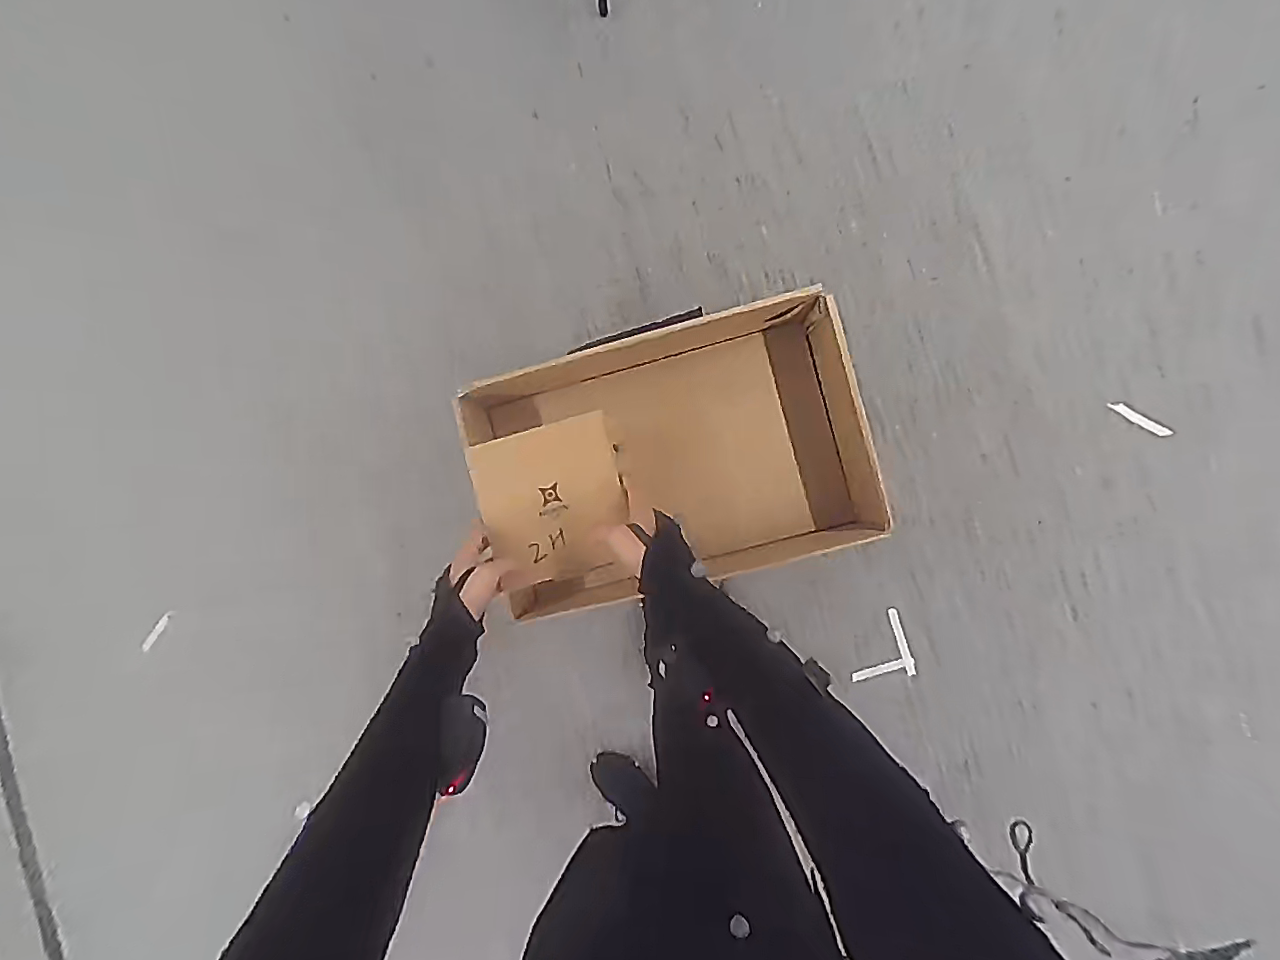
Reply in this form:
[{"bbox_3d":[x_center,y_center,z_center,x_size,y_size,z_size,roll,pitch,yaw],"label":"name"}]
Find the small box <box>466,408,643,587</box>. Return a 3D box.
[{"bbox_3d":[-0.097,0.021,0.696,0.168,0.176,0.179,-16,90,4],"label":"small box"}]
